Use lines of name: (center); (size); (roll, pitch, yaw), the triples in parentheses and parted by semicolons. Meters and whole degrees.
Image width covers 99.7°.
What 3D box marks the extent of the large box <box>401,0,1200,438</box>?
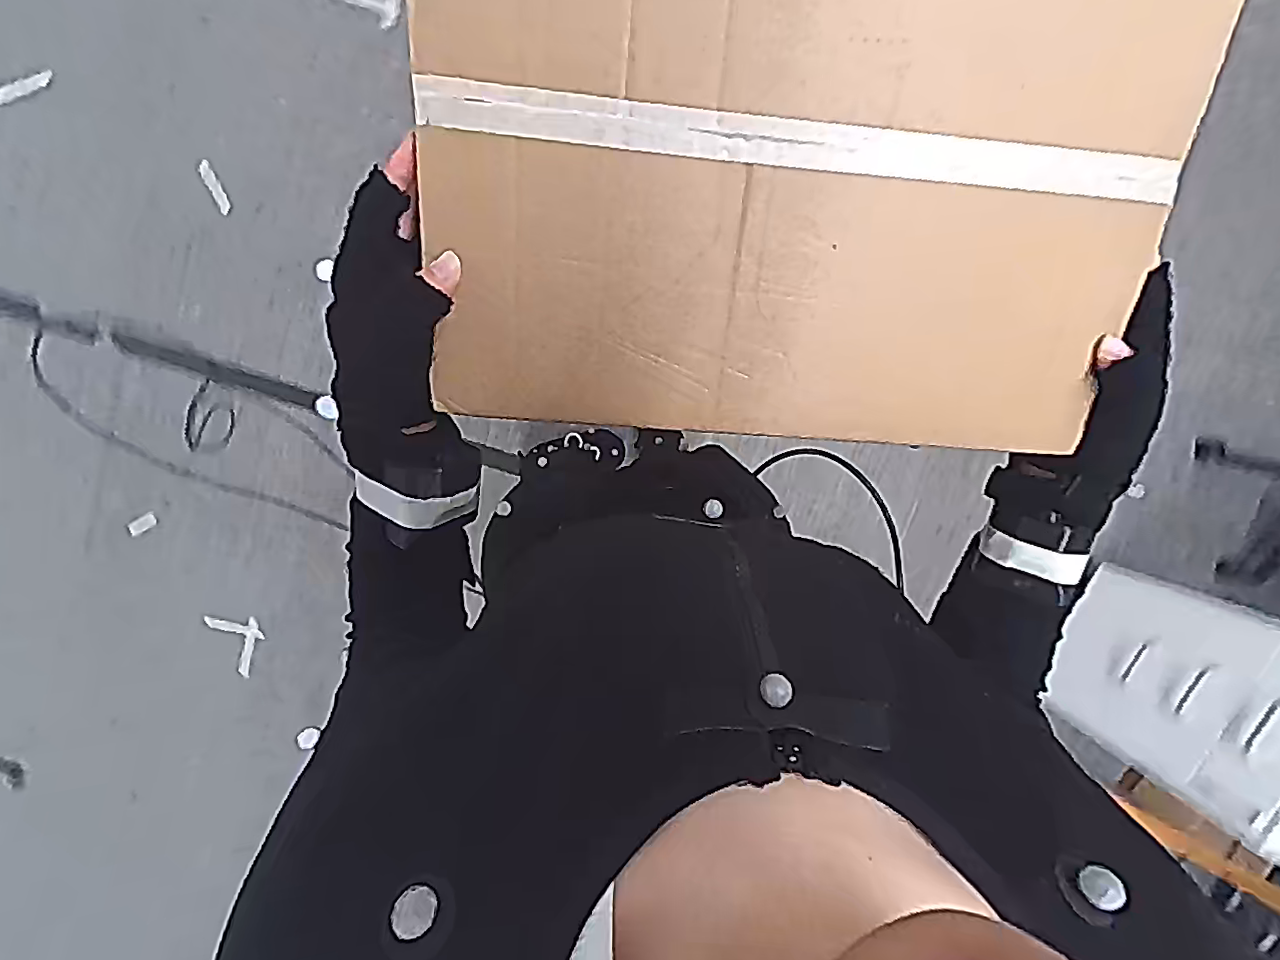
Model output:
large box: (0.073, -0.229, 0.427); (0.408, 0.320, 0.320); (2, 111, -5)
